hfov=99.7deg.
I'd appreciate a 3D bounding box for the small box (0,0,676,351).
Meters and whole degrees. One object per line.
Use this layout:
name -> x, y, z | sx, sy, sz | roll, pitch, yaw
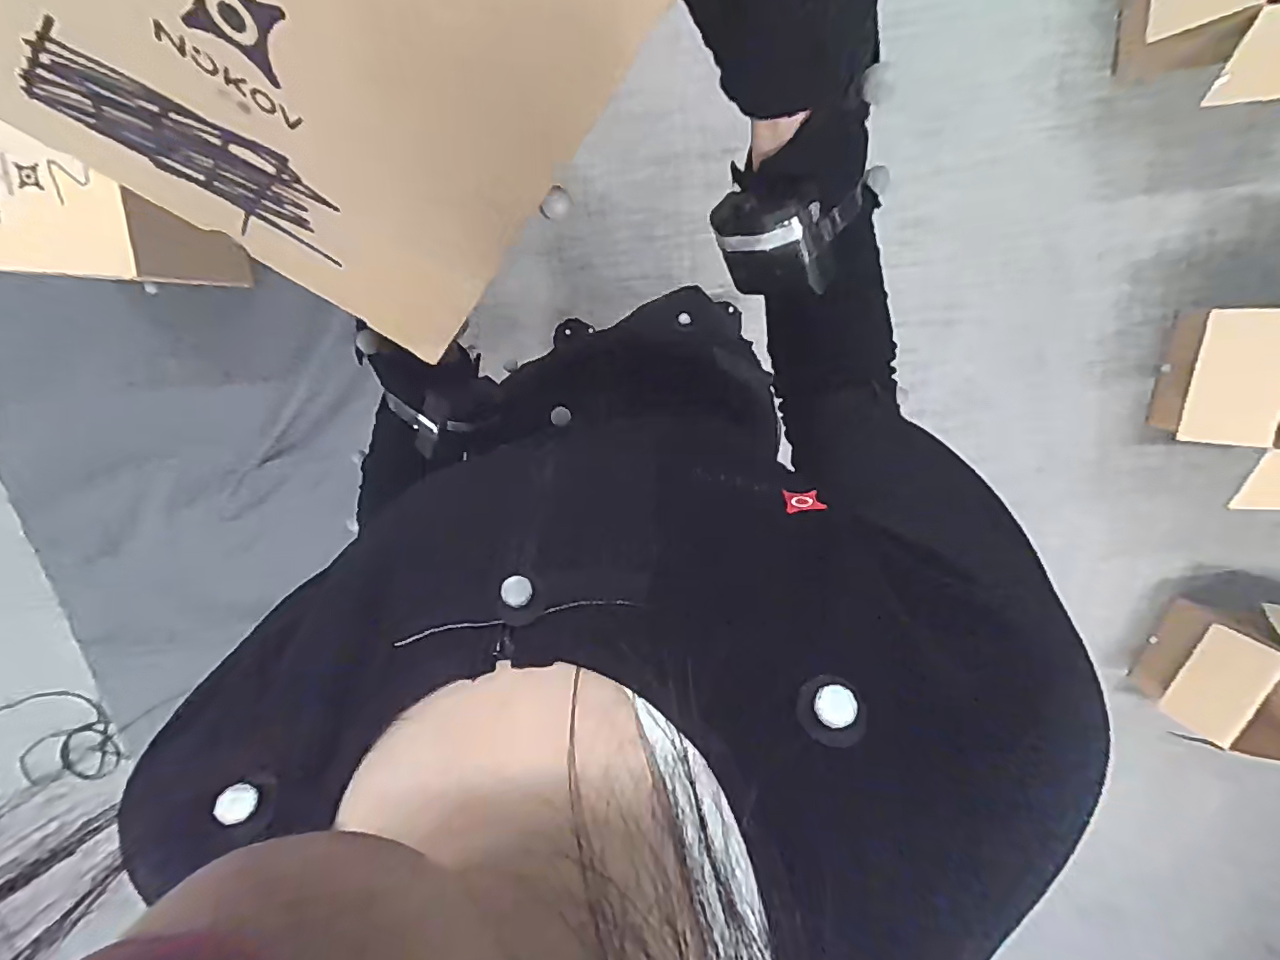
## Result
small box -> -0.083, -0.184, 0.182 | 0.168, 0.176, 0.179 | 29, 149, -26
